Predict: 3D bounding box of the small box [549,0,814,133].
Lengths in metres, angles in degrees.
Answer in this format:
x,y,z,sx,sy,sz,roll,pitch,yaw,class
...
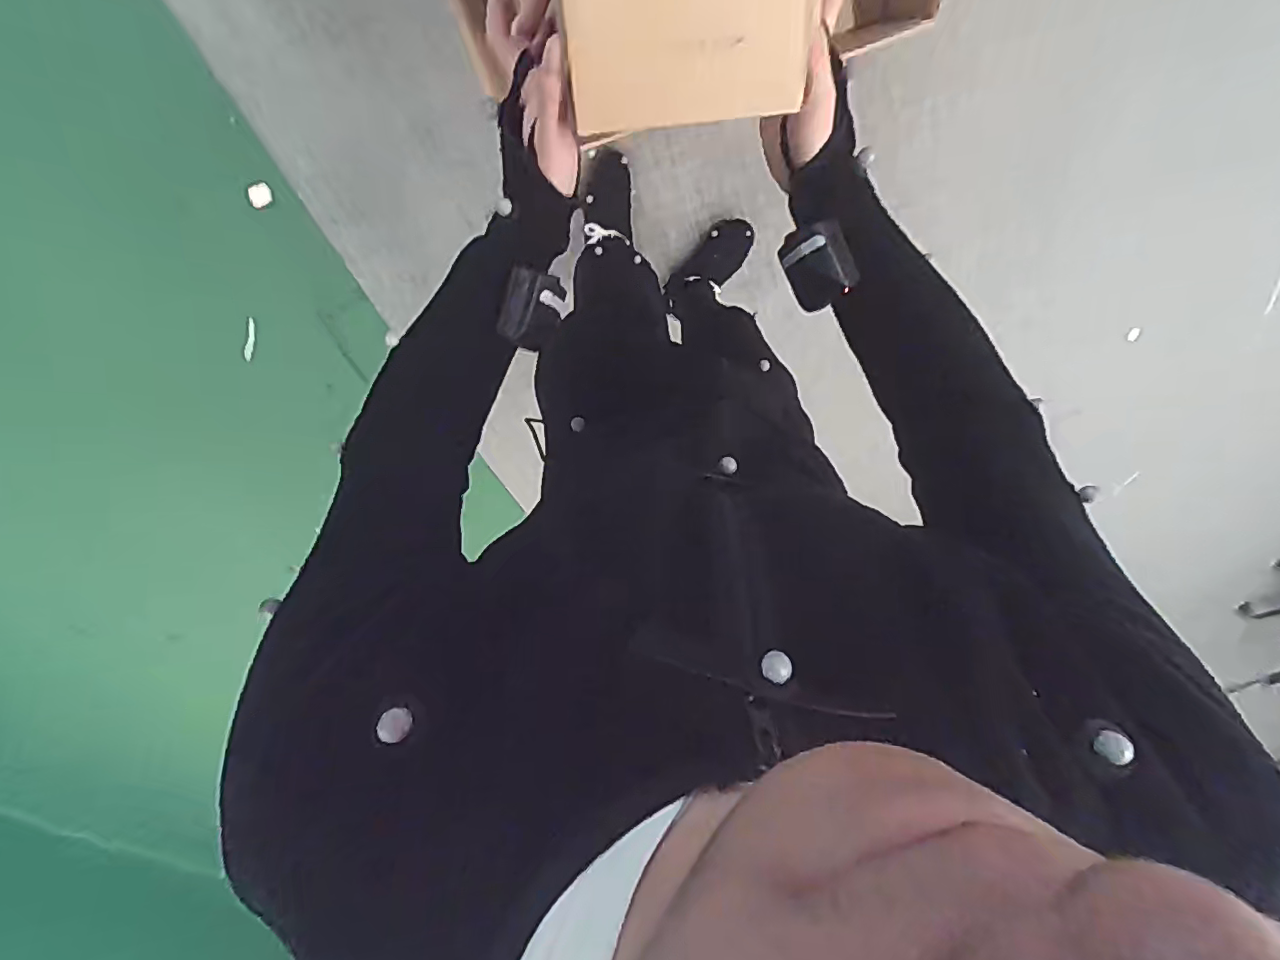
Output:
x,y,z,sx,sy,sz,roll,pitch,yaw,class
0.017,-0.368,0.385,0.168,0.176,0.179,-8,133,-5,small box
